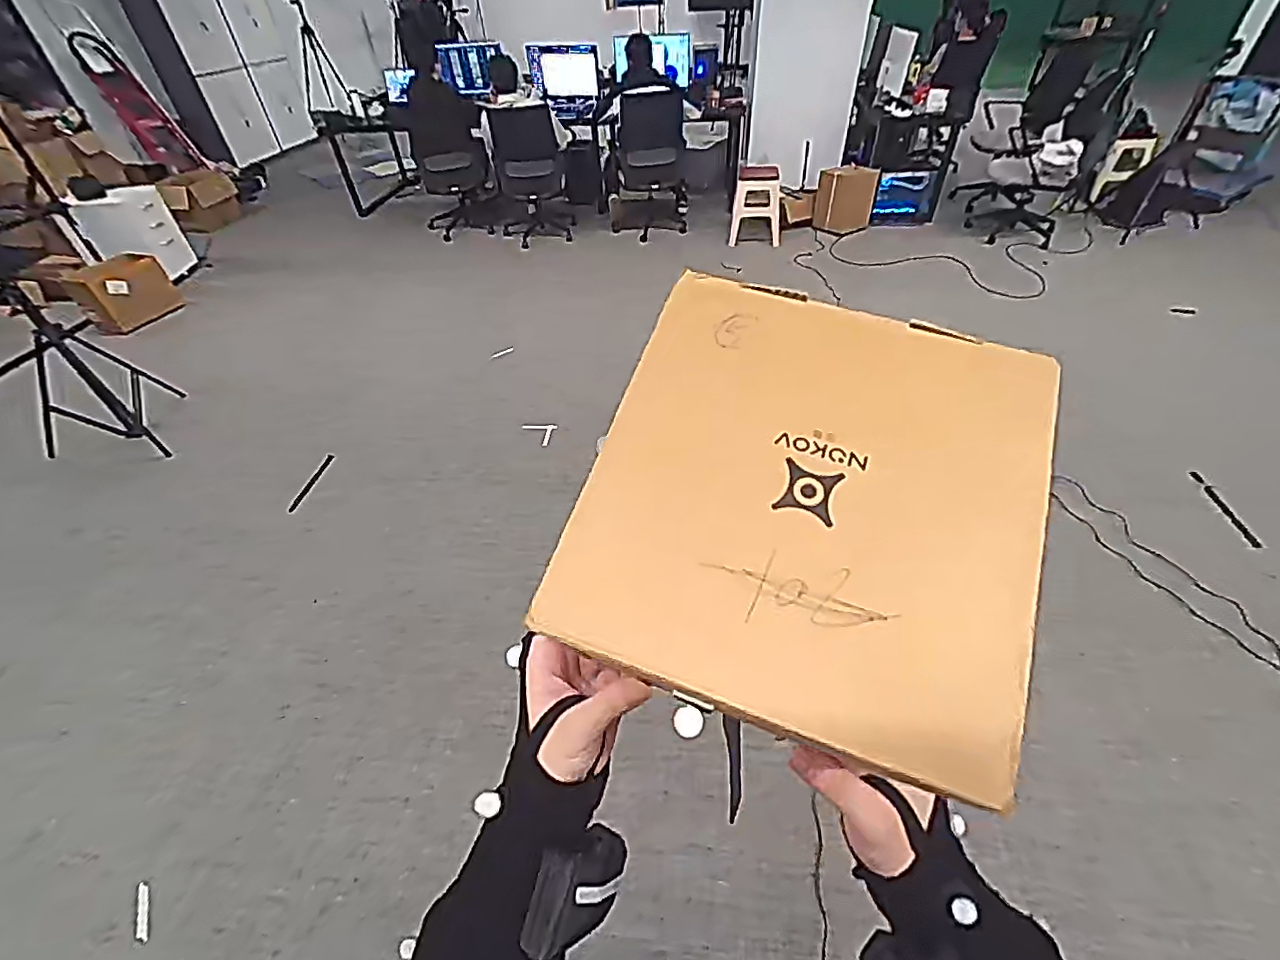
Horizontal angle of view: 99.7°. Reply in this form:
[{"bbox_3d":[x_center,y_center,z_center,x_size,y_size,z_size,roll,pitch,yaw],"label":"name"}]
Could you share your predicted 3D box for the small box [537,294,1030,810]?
[{"bbox_3d":[0.068,0.039,0.293,0.168,0.176,0.179,17,70,11],"label":"small box"}]
